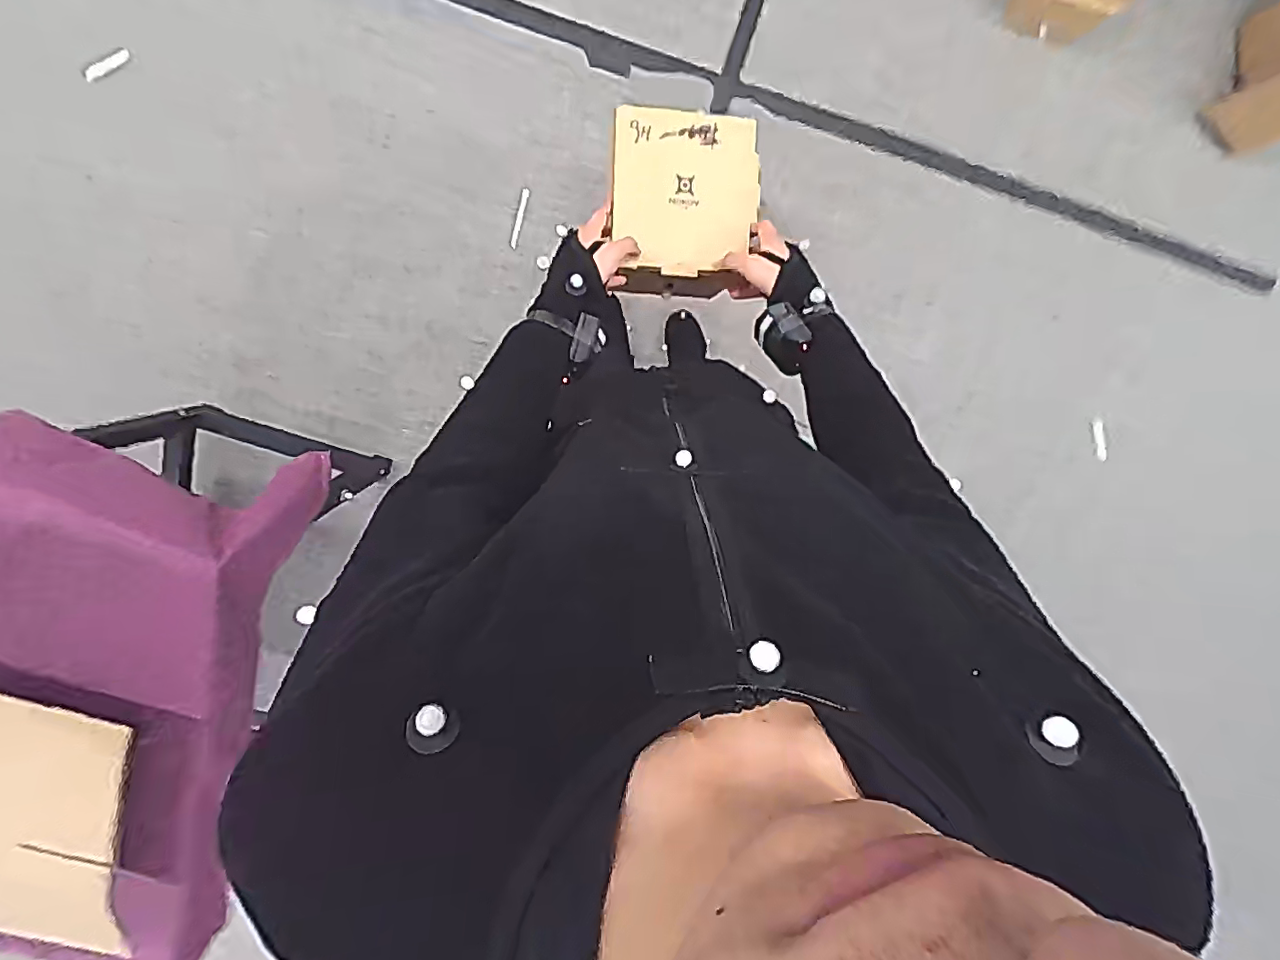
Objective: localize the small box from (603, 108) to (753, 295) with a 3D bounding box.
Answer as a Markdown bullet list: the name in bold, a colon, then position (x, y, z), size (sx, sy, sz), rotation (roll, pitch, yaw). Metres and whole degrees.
- **small box**: position (0.039, -0.348, 0.713), size (0.168, 0.176, 0.179), rotation (1, 99, -6)
